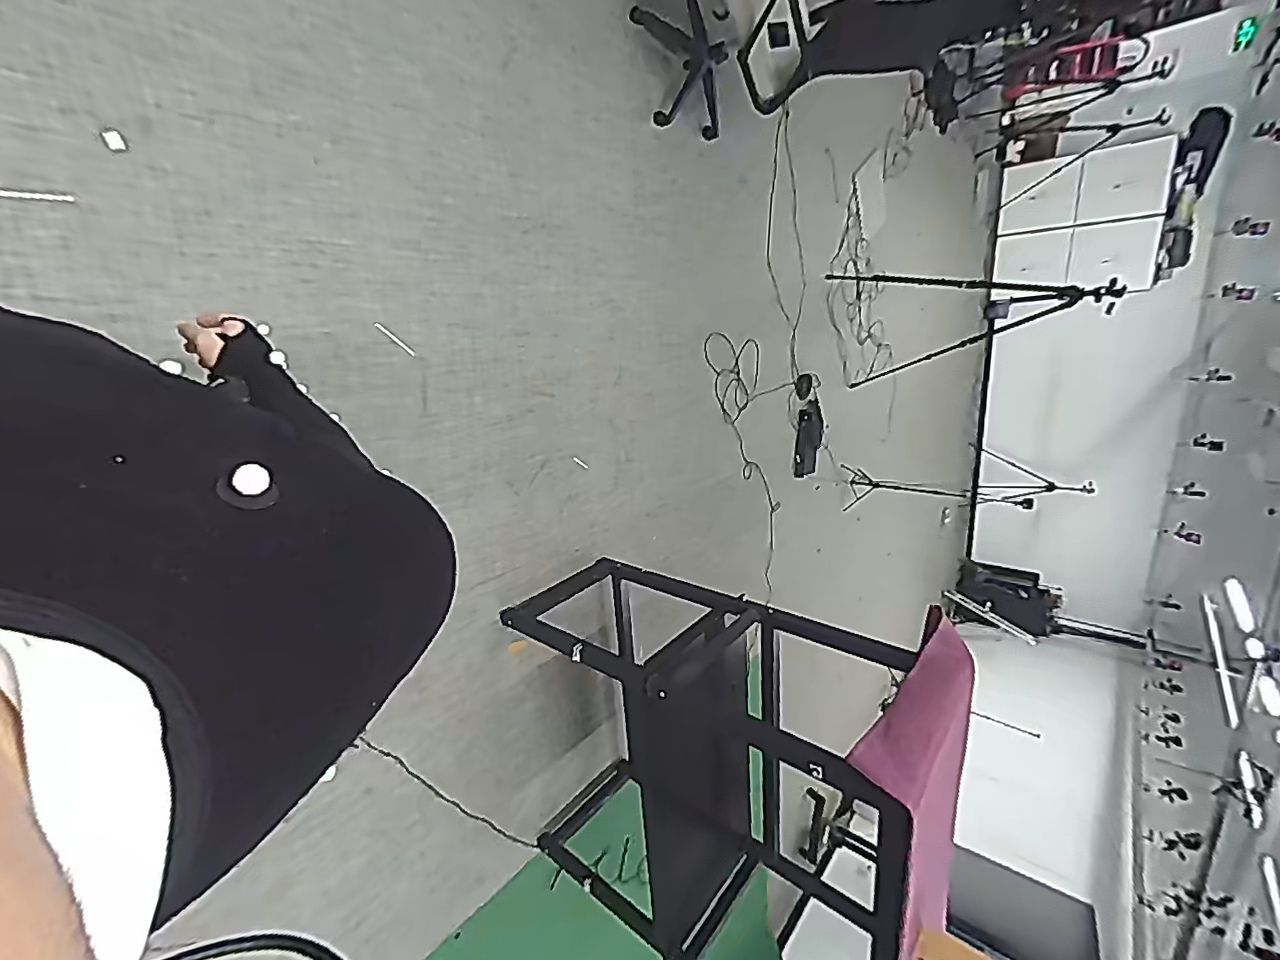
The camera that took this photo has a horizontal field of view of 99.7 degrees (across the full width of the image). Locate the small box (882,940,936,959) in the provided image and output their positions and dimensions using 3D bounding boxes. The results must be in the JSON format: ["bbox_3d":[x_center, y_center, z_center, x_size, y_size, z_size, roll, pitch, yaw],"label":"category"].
[{"bbox_3d":[0.686,1.313,1.352,0.168,0.176,0.179,-18,112,-48],"label":"small box"}]
